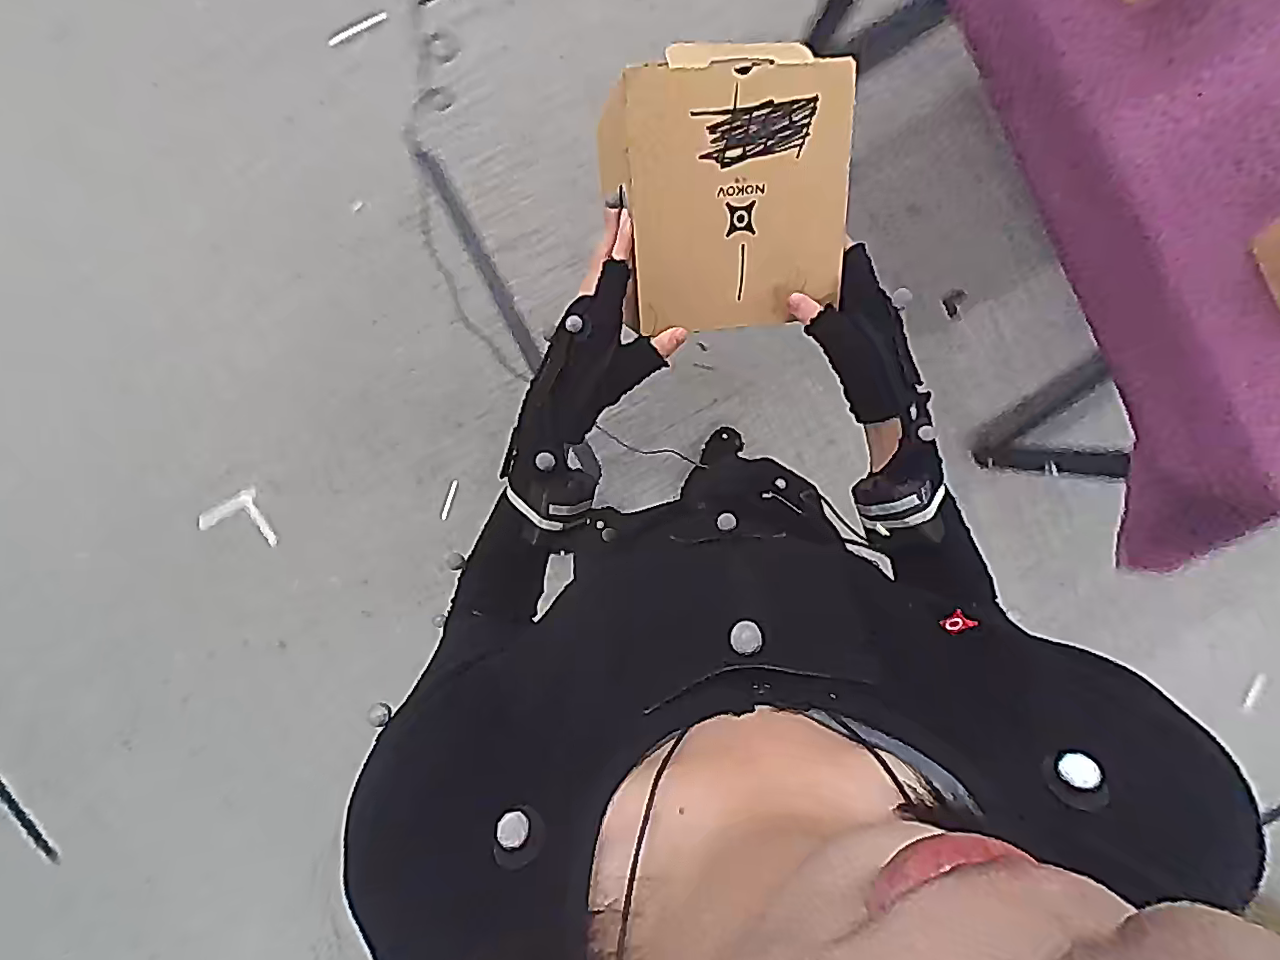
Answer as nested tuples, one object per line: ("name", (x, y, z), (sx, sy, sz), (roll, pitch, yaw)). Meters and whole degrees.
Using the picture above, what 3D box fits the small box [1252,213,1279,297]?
("small box", (1.021, -0.329, 0.731), (0.168, 0.176, 0.179), (-35, 96, 0))
